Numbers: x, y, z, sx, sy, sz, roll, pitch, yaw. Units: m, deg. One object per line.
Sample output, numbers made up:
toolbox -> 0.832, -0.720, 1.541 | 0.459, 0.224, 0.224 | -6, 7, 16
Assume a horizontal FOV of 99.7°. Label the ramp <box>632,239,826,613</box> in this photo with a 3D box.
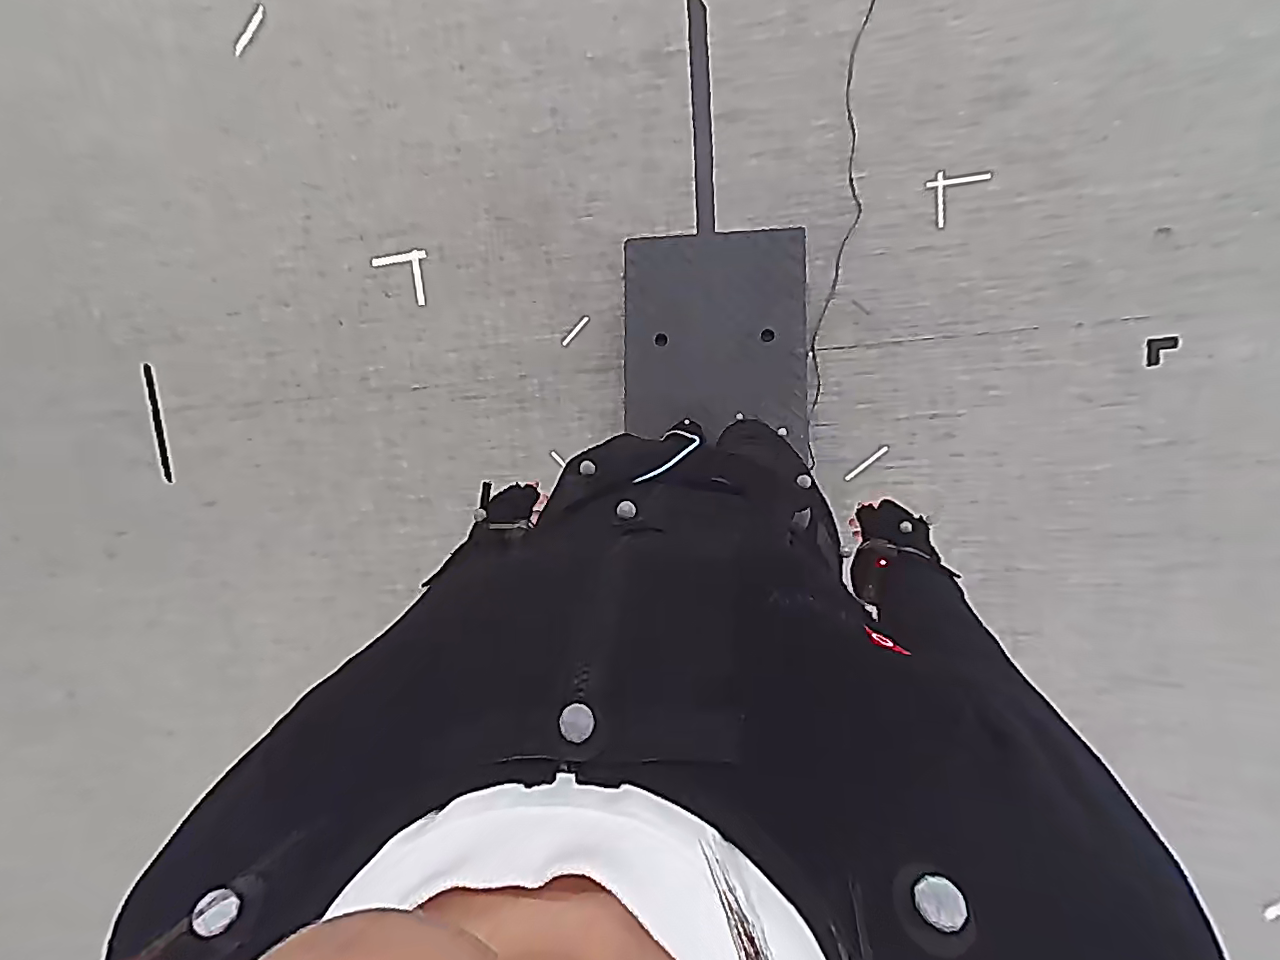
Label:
ramp -> 0.225, -0.149, 1.464 | 0.509, 0.206, 0.991 | -4, 95, 10
